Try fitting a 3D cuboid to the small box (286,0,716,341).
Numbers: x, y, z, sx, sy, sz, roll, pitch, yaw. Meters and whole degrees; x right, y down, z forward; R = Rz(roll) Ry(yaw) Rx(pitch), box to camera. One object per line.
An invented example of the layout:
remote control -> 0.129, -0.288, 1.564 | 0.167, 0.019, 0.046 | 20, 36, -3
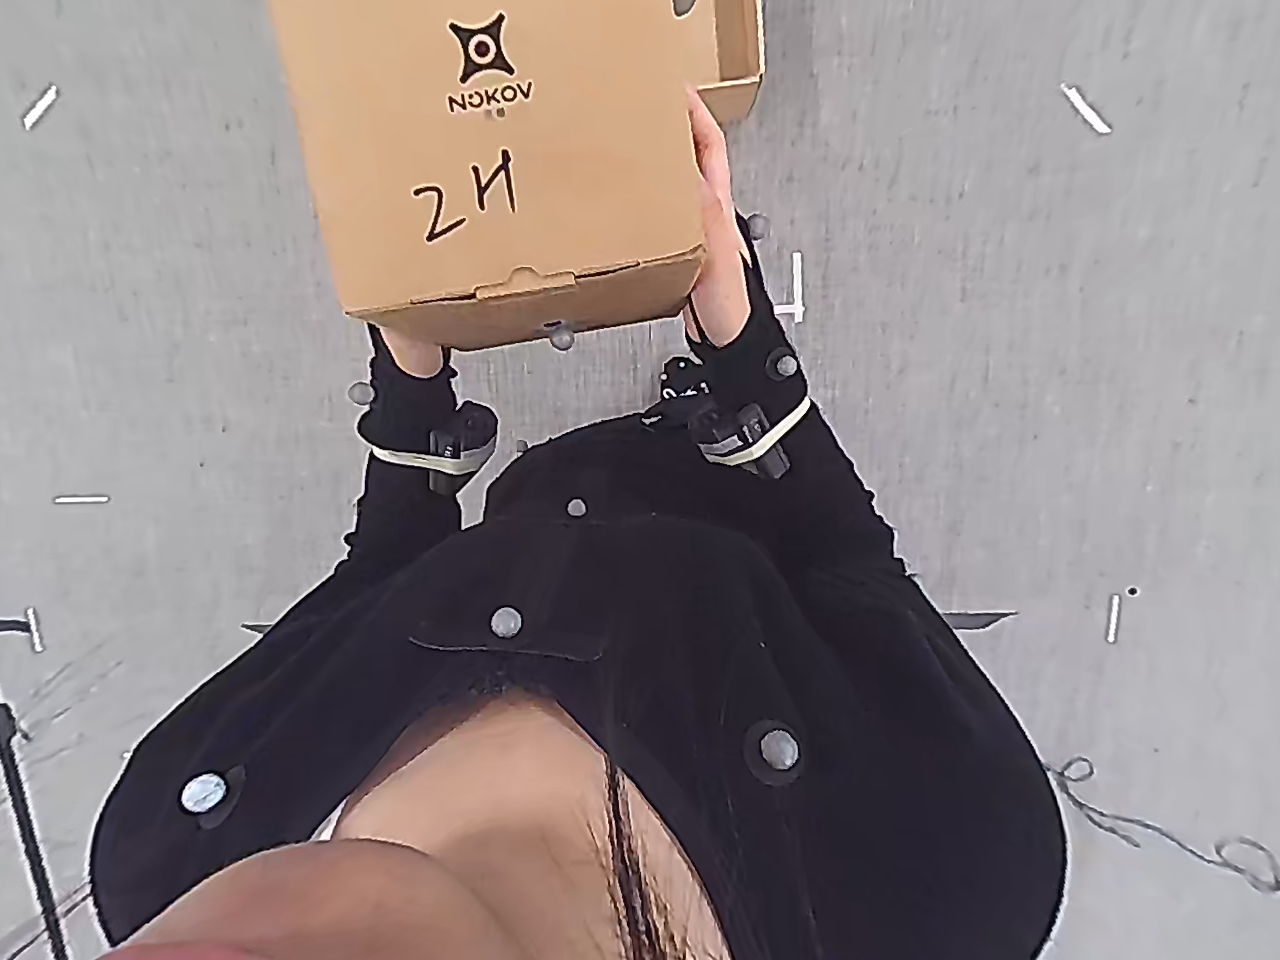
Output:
small box -> -0.061, -0.187, 0.304 | 0.168, 0.176, 0.179 | -9, 98, 1
